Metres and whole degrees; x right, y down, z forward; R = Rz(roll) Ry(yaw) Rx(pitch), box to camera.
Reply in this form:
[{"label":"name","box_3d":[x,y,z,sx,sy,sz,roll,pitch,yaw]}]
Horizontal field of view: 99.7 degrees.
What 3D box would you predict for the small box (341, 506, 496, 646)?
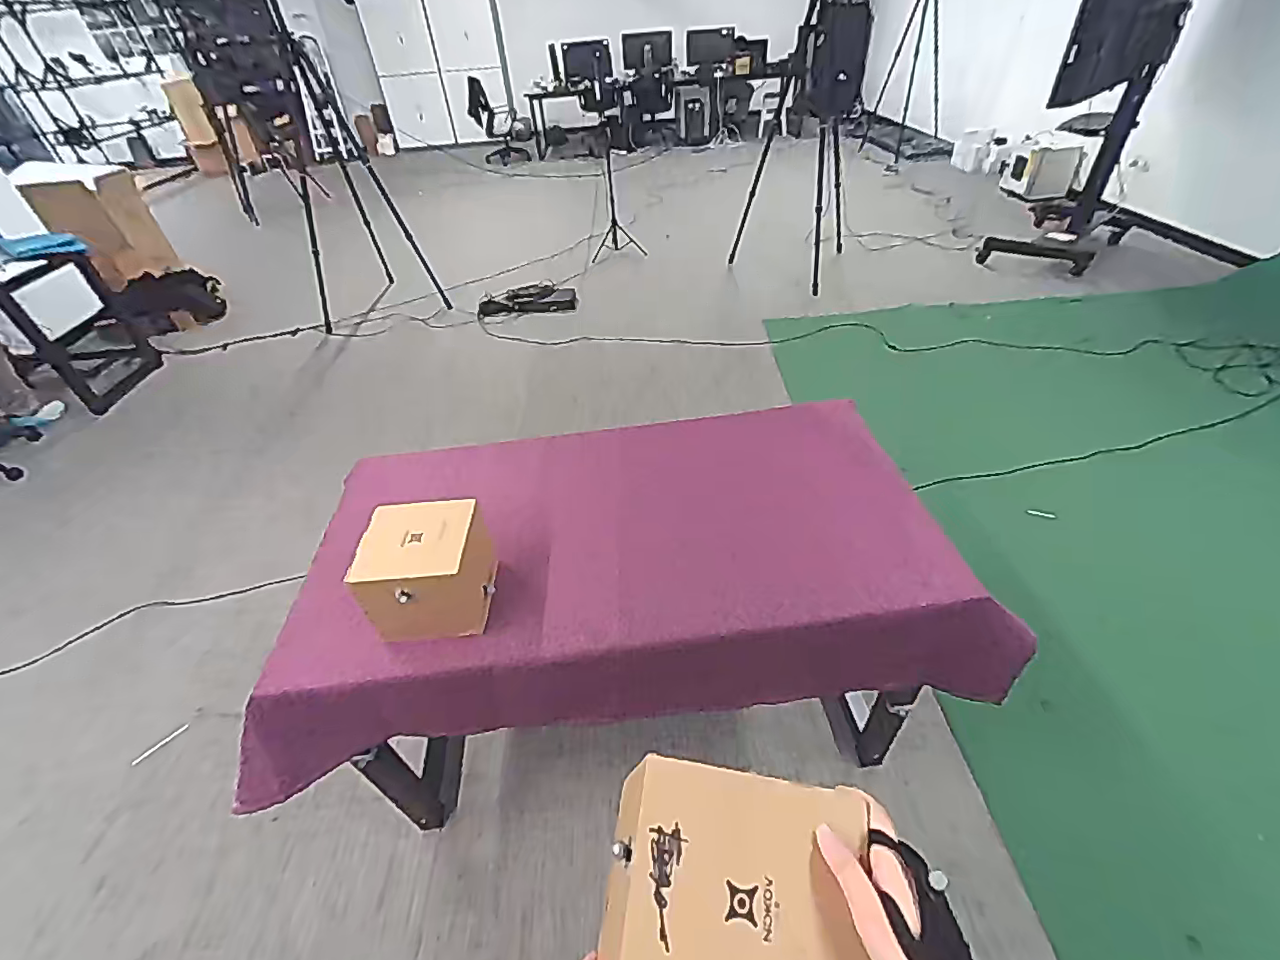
[{"label":"small box","box_3d":[-0.360,0.166,0.917,0.179,0.176,0.168,-4,41,0]}]
